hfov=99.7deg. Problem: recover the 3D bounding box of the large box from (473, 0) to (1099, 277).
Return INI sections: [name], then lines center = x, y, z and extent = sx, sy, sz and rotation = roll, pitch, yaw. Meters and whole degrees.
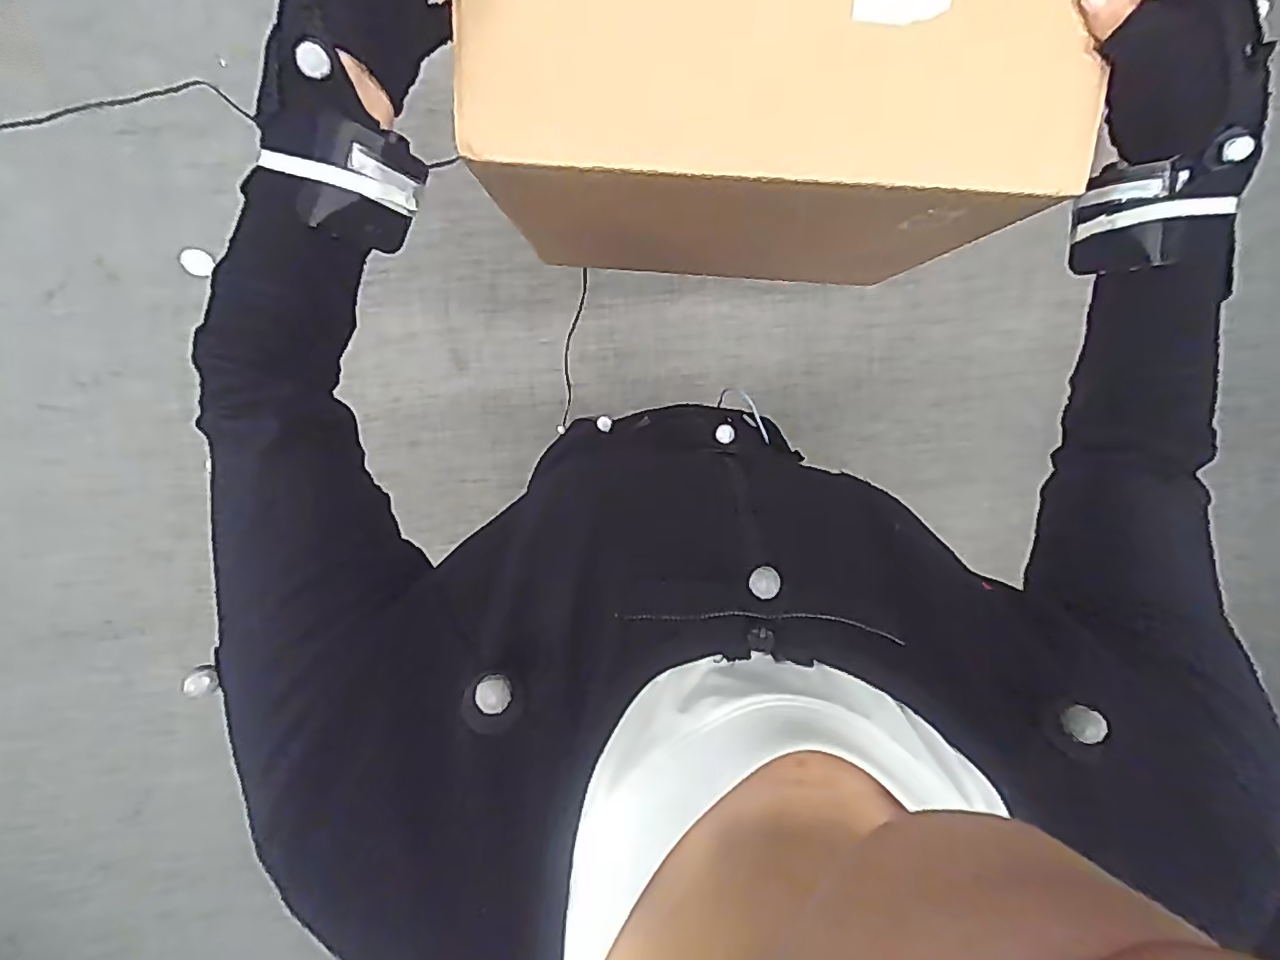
[large box]
center = 0.092, -0.377, 0.481
extent = 0.408, 0.320, 0.320
rotation = 3, 100, 0
